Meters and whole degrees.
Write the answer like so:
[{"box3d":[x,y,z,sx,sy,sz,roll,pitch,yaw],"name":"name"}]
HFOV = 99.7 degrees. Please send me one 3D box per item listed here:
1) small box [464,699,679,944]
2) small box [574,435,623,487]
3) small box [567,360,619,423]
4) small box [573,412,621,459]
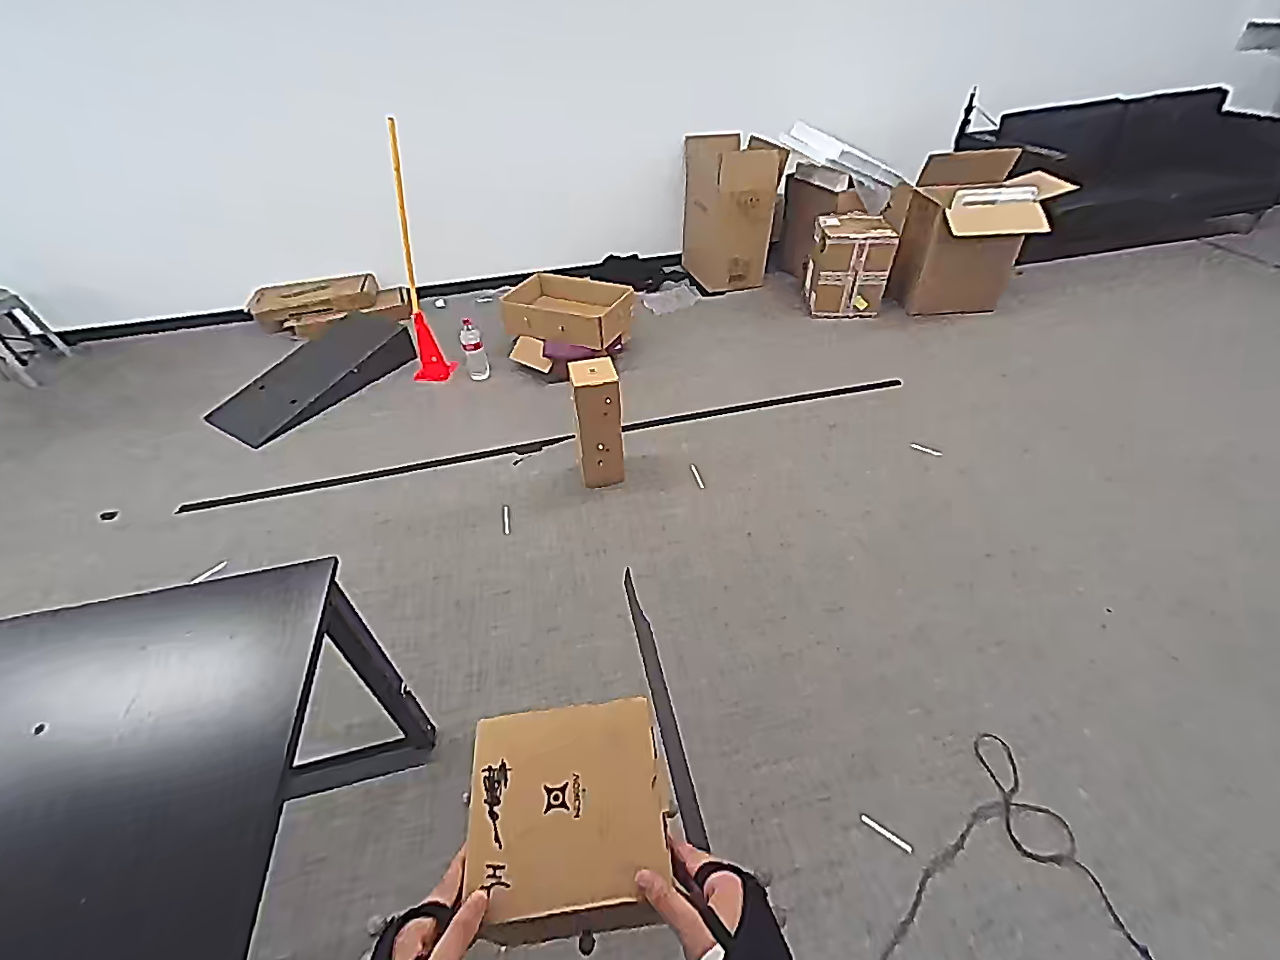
[{"box3d":[-0.062,0.343,0.545,0.179,0.176,0.168,-5,44,-4],"name":"small box"},{"box3d":[-0.173,-0.088,2.272,0.179,0.176,0.168,-10,43,-9],"name":"small box"},{"box3d":[-0.177,-0.330,2.051,0.168,0.176,0.179,-10,42,-10],"name":"small box"},{"box3d":[-0.174,-0.207,2.158,0.168,0.176,0.179,-10,43,-8],"name":"small box"}]
